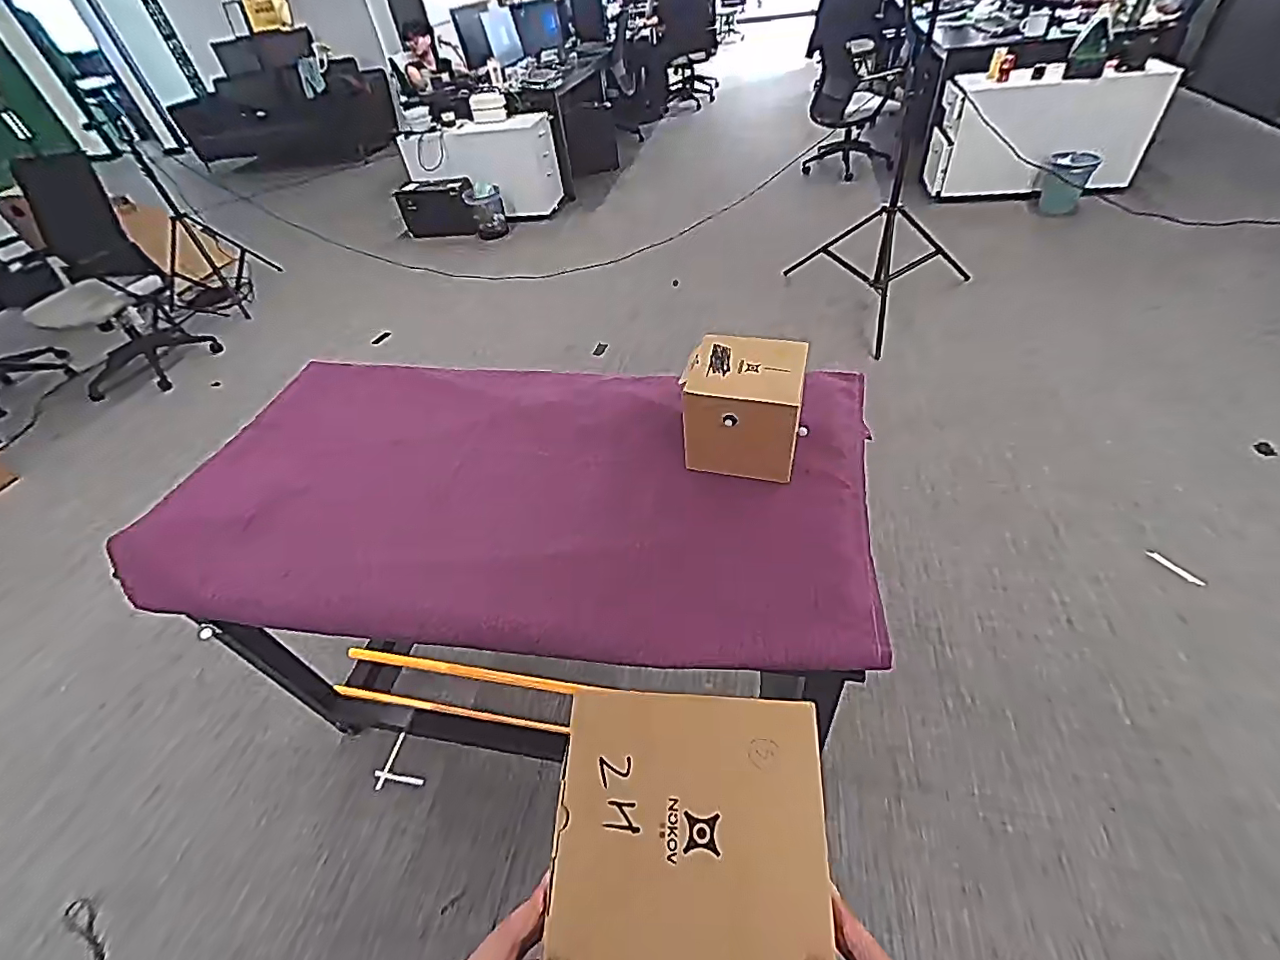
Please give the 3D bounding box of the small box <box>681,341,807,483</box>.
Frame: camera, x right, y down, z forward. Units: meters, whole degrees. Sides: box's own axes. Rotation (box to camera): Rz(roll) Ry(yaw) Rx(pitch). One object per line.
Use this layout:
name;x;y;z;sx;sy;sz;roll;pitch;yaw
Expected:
small box;0.176;-0.113;0.914;0.179;0.176;0.168;9;49;16

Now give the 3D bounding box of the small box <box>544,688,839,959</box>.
small box;0.041;0.267;0.421;0.179;0.176;0.168;1;59;6
